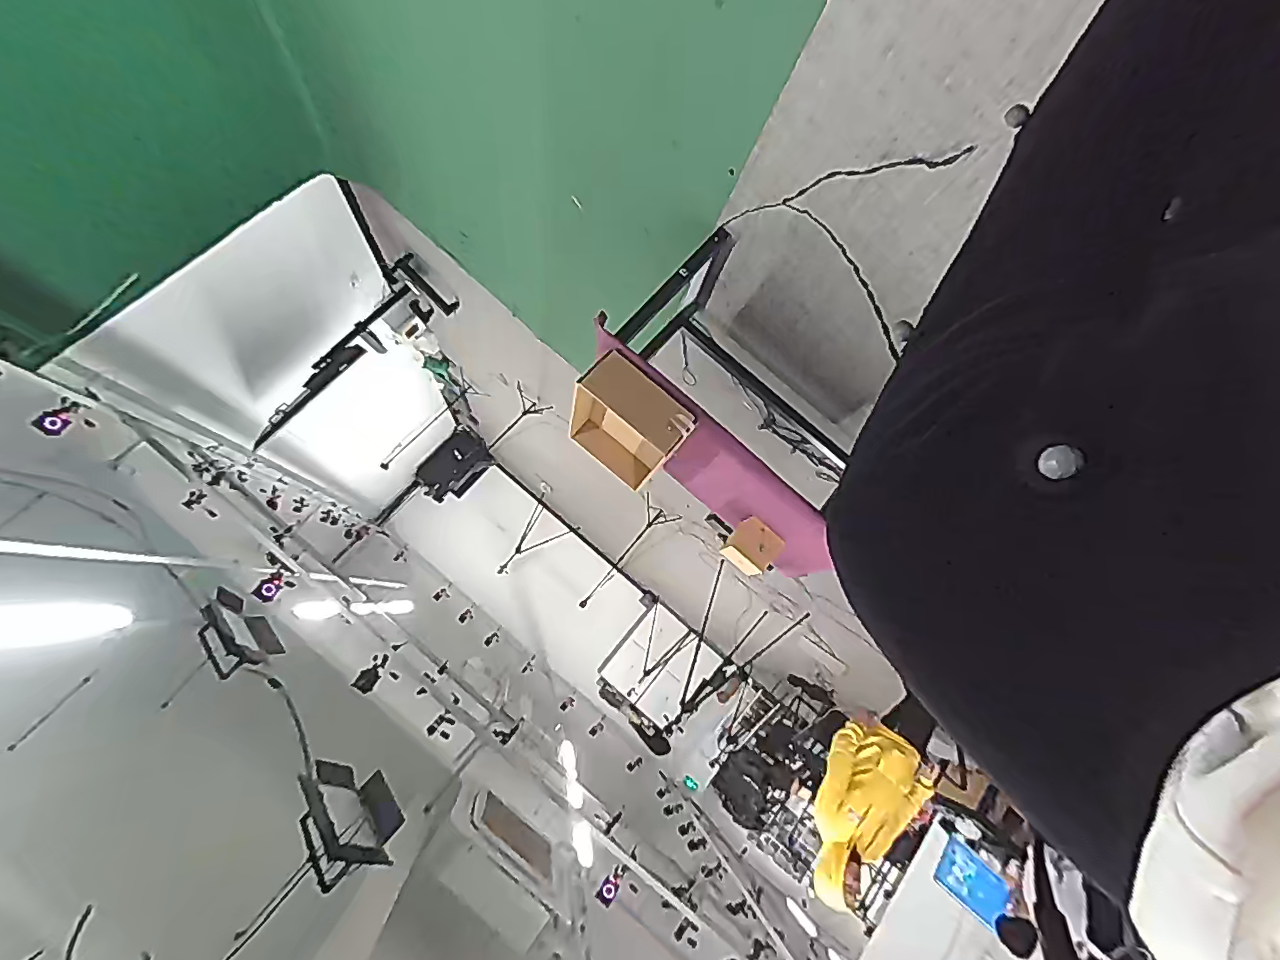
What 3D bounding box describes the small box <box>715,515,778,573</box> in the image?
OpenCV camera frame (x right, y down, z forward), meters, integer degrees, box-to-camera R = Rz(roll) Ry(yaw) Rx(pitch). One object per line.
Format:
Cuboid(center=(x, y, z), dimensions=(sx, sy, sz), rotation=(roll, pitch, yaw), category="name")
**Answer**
Cuboid(center=(0.443, 0.263, 2.225), dimensions=(0.168, 0.176, 0.179), rotation=(40, 164, 2), category="small box")
